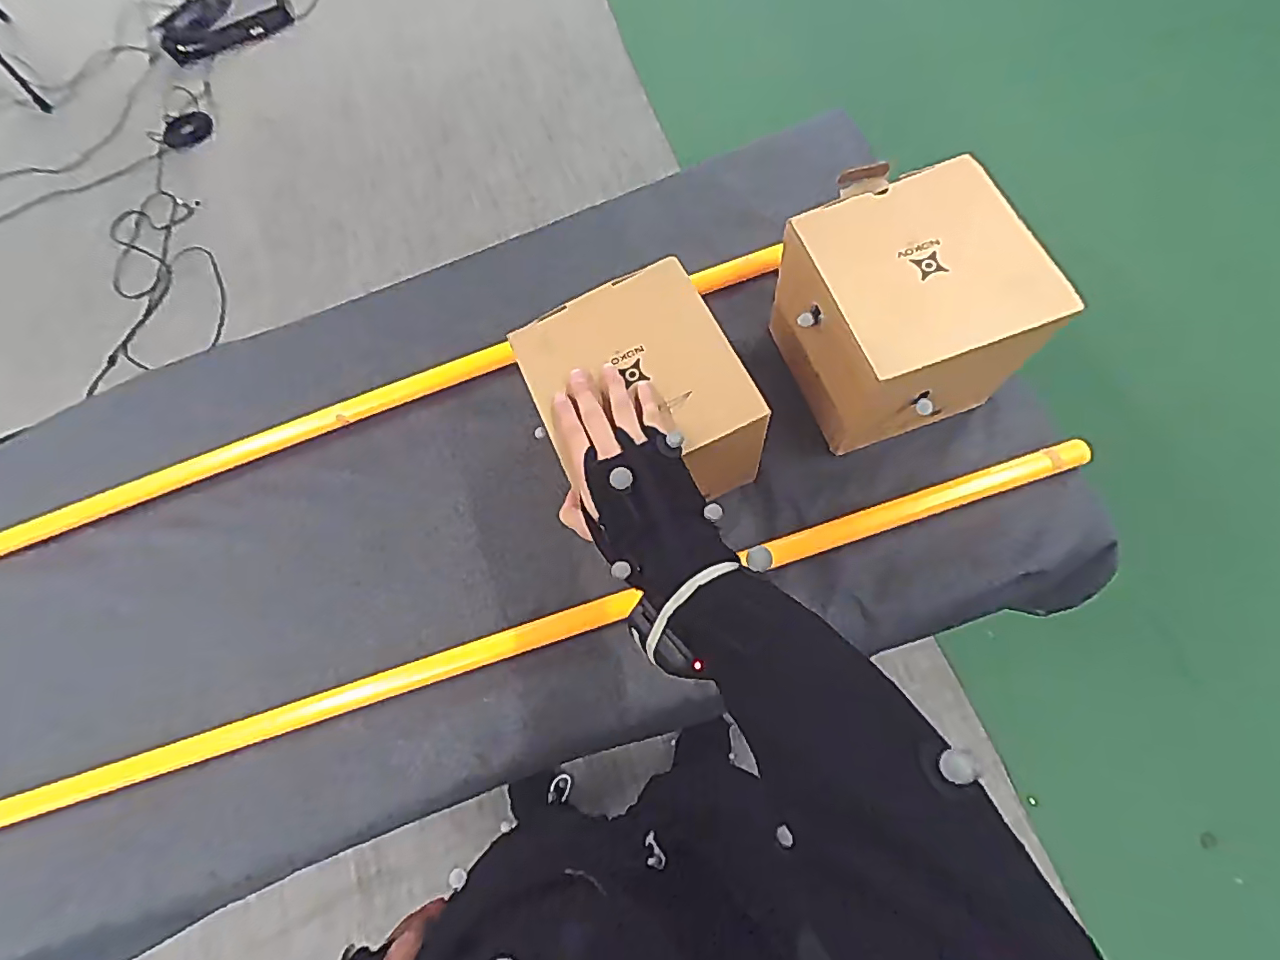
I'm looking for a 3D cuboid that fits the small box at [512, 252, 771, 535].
[{"bbox_3d":[0.005,-0.069,0.519,0.168,0.176,0.179,-26,71,0],"label":"small box"}]

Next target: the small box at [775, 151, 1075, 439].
[{"bbox_3d":[0.241,-0.156,0.514,0.168,0.176,0.179,-20,69,2],"label":"small box"}]
